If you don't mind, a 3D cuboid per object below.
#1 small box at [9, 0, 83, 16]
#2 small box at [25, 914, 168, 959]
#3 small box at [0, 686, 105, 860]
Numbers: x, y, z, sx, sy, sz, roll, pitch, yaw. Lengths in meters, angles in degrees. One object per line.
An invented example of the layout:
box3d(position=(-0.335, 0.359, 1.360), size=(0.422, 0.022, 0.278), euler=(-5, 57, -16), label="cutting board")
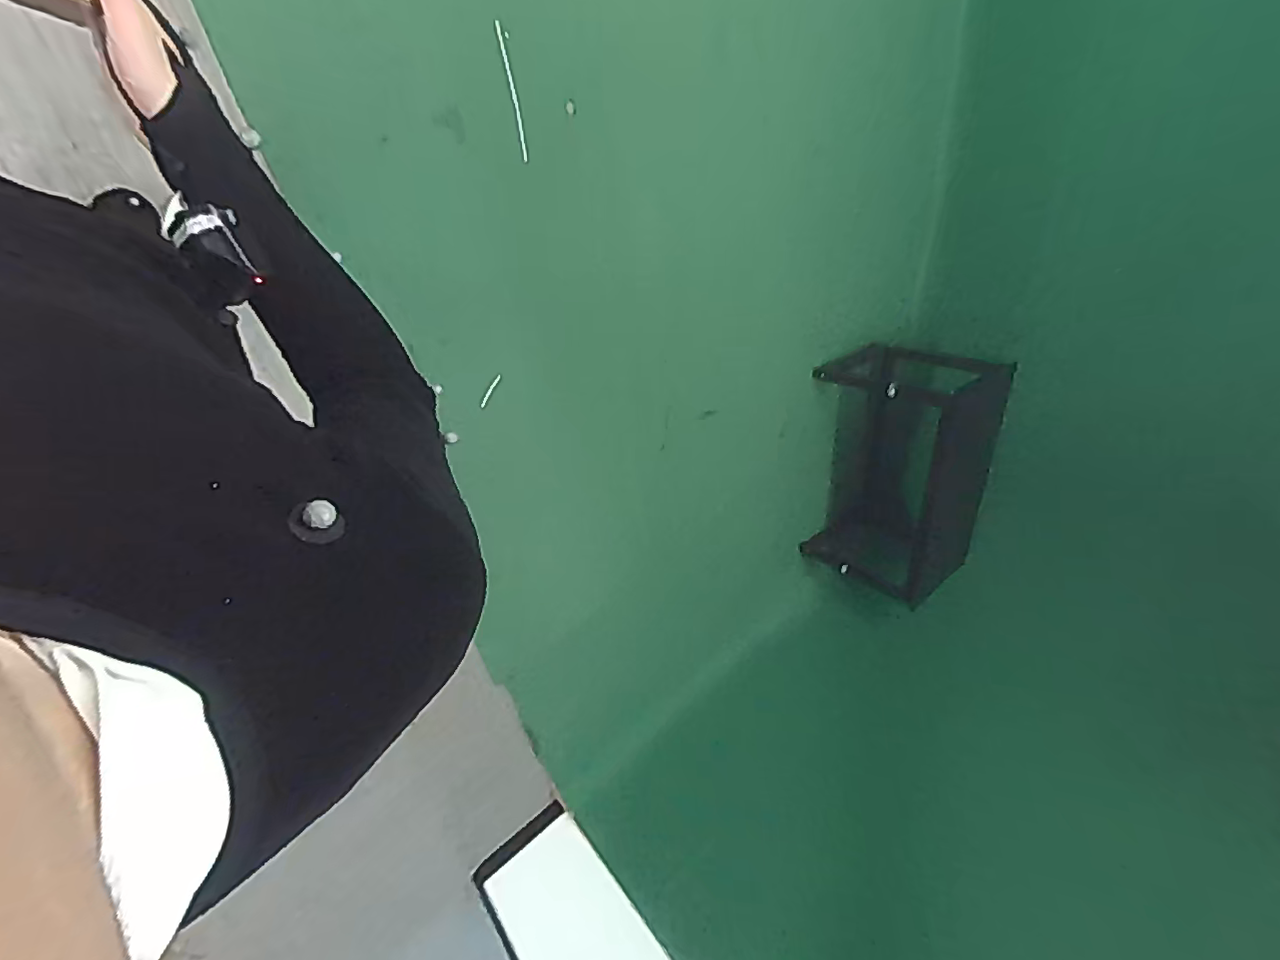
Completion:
box3d(position=(-0.462, -0.420, 0.324), size=(0.168, 0.176, 0.179), euler=(-8, 122, -43), label="small box")
box3d(position=(-0.817, 0.779, 0.771), size=(0.168, 0.176, 0.179), euler=(-29, 124, -28), label="small box")
box3d(position=(-1.034, 0.483, 0.893), size=(0.168, 0.176, 0.179), euler=(-26, 127, -31), label="small box")
